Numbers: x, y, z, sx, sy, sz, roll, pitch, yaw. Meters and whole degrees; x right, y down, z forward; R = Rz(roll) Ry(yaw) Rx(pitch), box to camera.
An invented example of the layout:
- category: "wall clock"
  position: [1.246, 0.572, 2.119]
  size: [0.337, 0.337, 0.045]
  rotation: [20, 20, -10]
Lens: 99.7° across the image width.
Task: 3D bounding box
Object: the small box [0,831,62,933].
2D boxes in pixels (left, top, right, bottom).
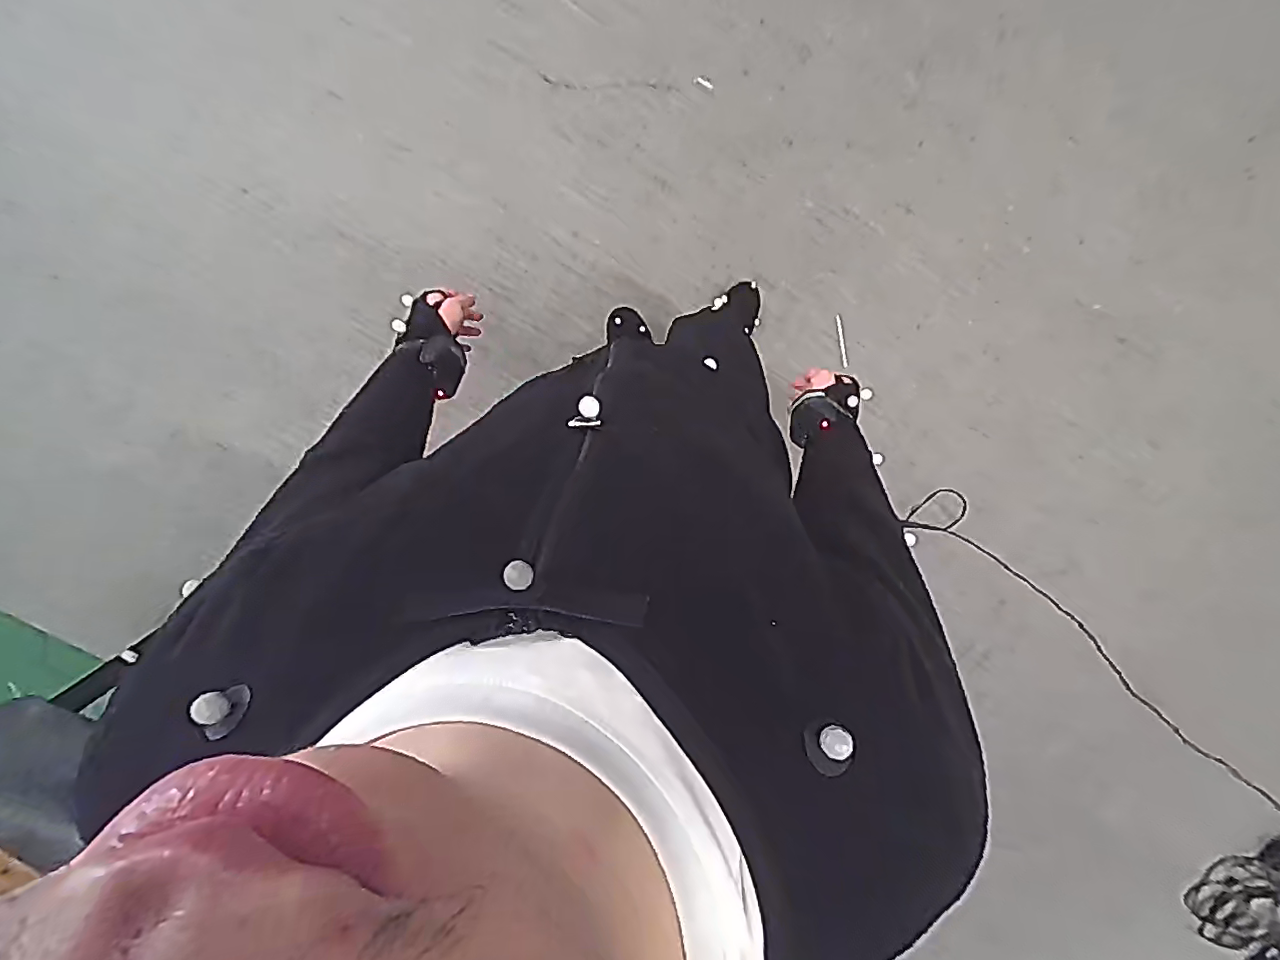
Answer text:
- category: "small box"
  position: [-1.413, 0.897, 1.151]
  size: [0.179, 0.176, 0.168]
  rotation: [-39, 101, 15]
